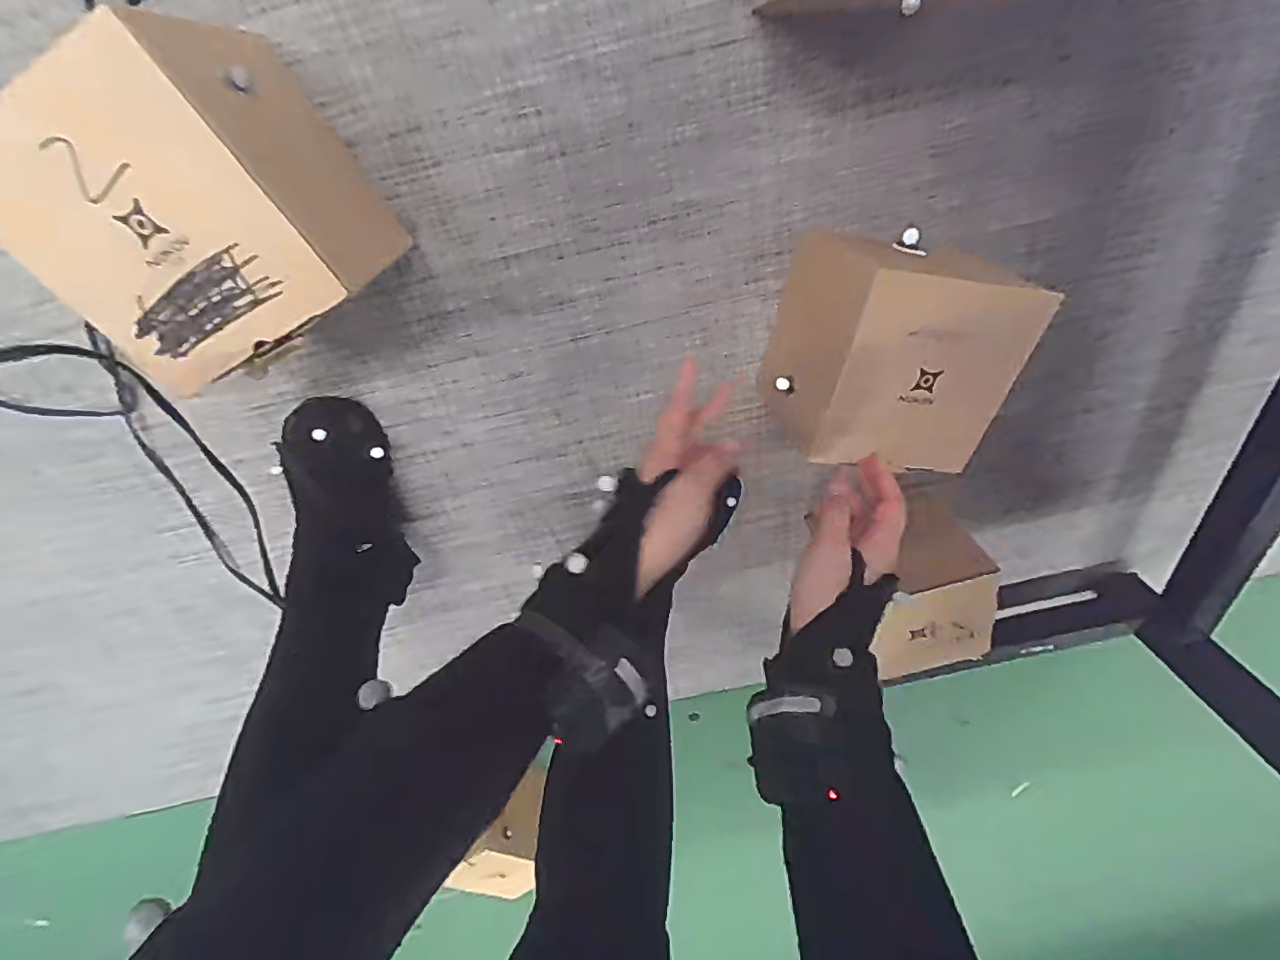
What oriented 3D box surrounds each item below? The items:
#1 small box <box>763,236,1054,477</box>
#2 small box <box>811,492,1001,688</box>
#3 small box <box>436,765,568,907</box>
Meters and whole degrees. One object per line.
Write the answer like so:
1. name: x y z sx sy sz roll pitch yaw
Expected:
1. small box: 0.234 -0.124 0.532 0.168 0.176 0.179 3 123 -10
2. small box: 0.342 0.144 0.729 0.179 0.176 0.168 -17 125 6
3. small box: -0.252 0.673 1.028 0.179 0.176 0.168 35 114 -26
